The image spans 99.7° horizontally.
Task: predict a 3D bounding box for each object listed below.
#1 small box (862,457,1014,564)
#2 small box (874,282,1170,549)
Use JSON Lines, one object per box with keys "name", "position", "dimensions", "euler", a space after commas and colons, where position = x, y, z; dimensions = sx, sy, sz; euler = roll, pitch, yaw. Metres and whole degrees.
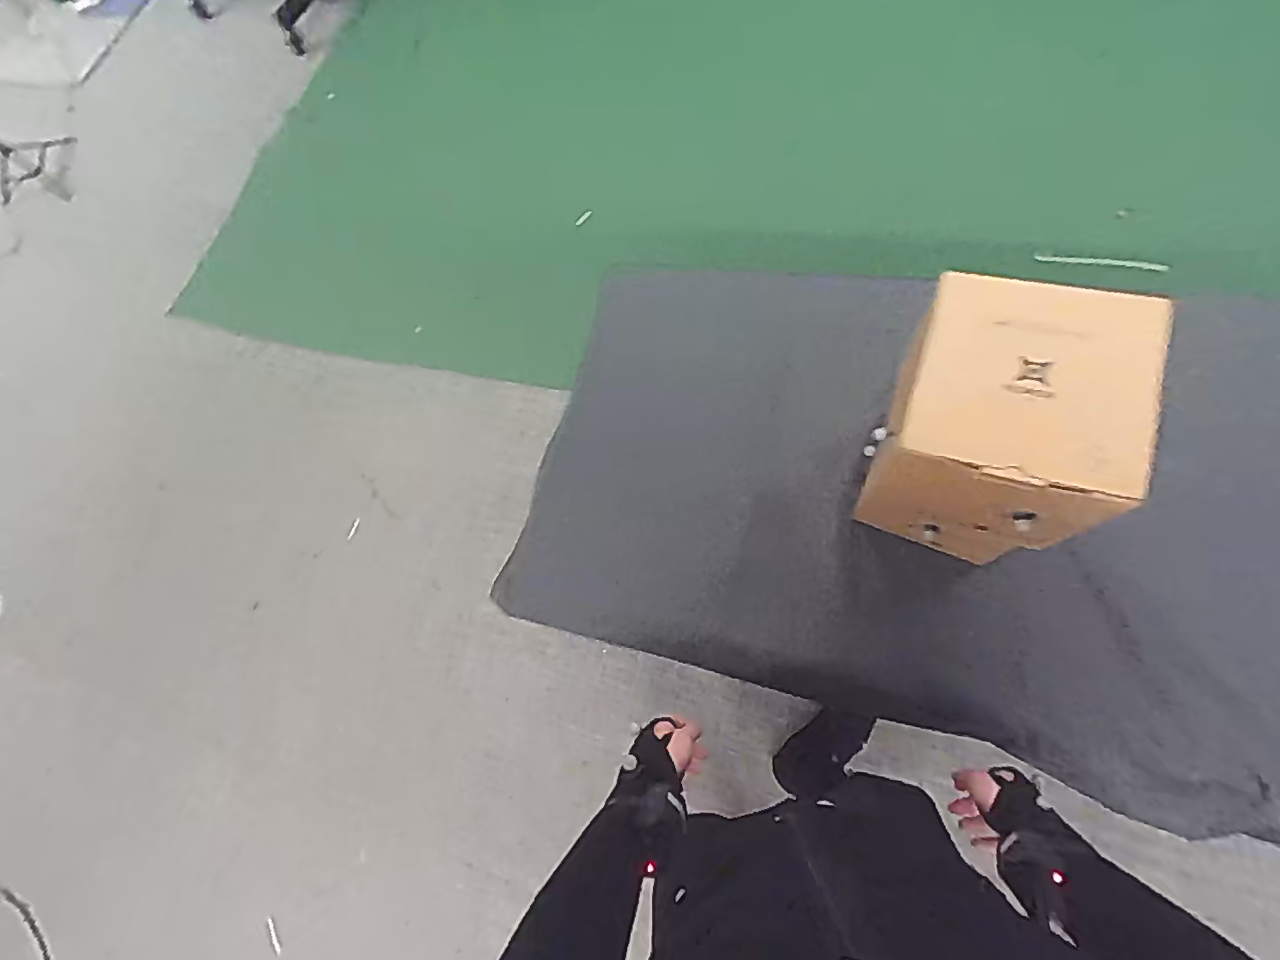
{"name": "small box", "position": [0.384, -0.014, 0.657], "dimensions": [0.168, 0.176, 0.179], "euler": [22, 77, 19]}
{"name": "small box", "position": [0.332, -0.049, 0.504], "dimensions": [0.168, 0.176, 0.179], "euler": [16, 75, 17]}
